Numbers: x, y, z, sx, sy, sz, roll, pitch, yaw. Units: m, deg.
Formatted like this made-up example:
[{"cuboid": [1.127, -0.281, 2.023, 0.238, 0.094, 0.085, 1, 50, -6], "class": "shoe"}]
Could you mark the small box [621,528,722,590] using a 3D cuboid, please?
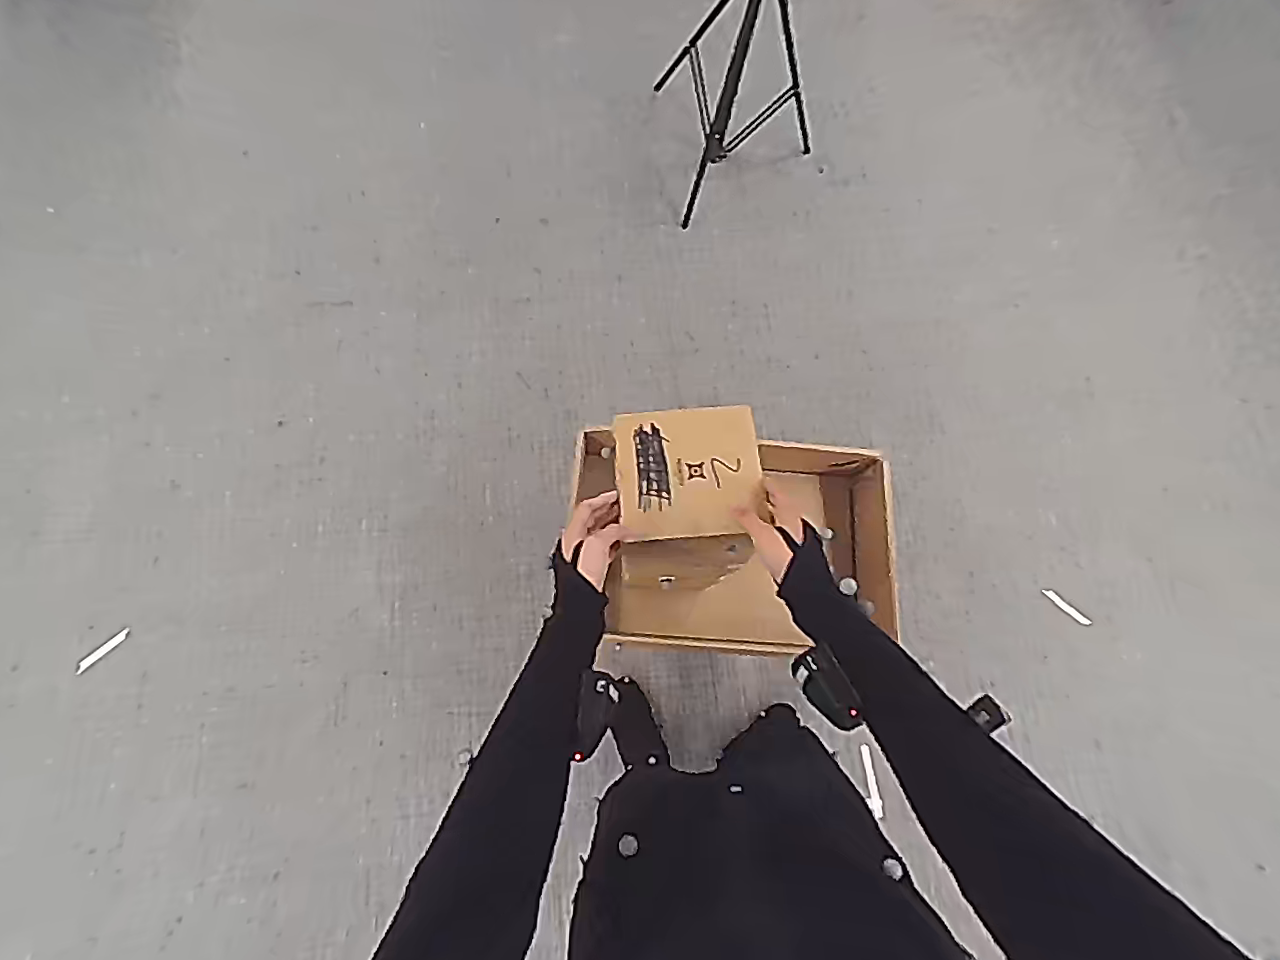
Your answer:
[{"cuboid": [0.054, 0.121, 1.039, 0.179, 0.176, 0.168, 2, 74, -5], "class": "small box"}]

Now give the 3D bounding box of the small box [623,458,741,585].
[{"cuboid": [0.059, 0.073, 0.882, 0.168, 0.176, 0.179, 0, 73, -5], "class": "small box"}]
